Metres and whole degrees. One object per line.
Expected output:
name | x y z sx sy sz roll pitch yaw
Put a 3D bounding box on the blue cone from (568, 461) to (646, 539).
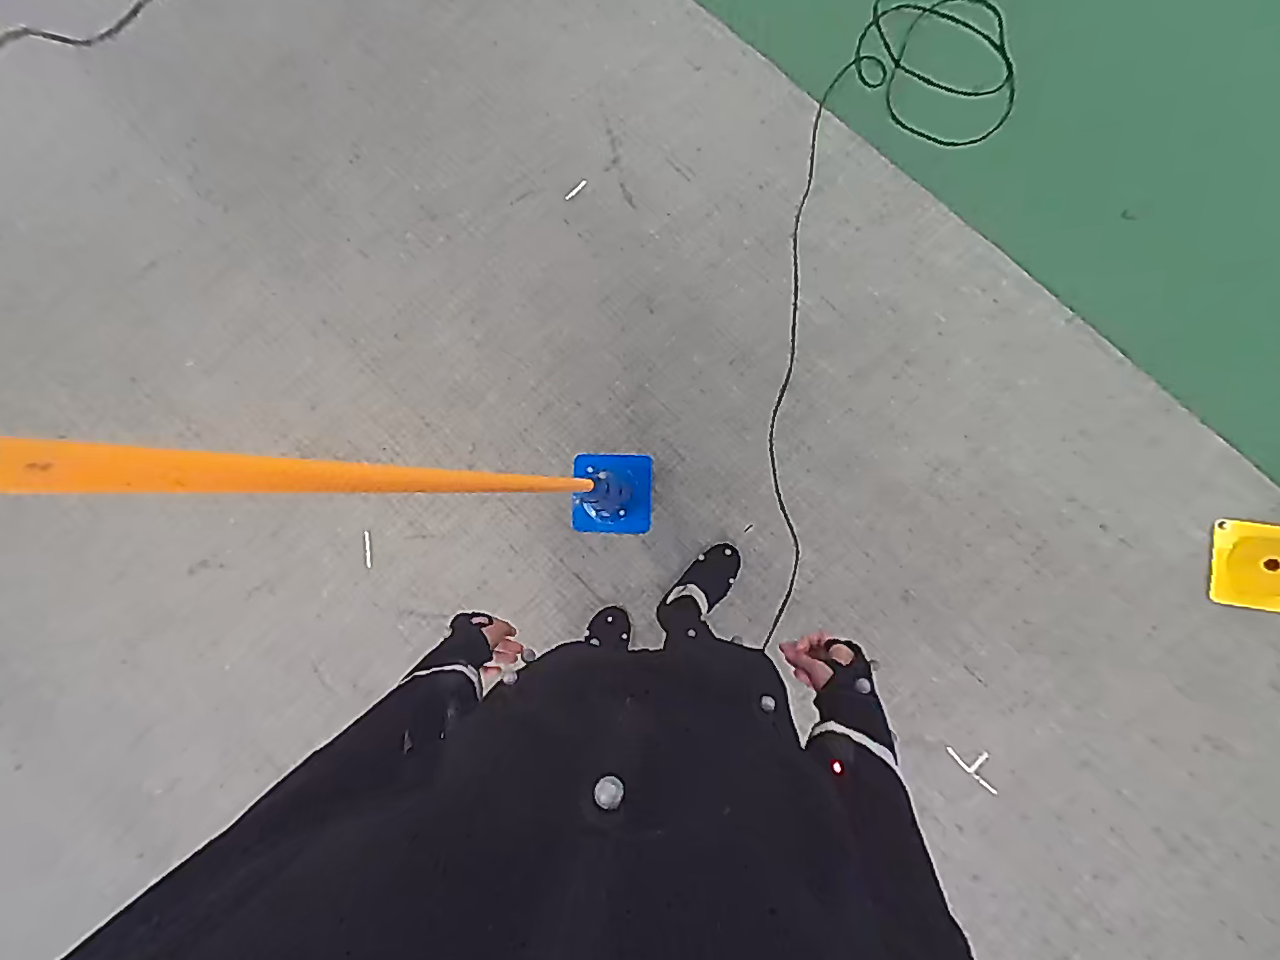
blue cone | -0.096 0.037 1.168 0.193 0.380 0.192 -1 86 5
